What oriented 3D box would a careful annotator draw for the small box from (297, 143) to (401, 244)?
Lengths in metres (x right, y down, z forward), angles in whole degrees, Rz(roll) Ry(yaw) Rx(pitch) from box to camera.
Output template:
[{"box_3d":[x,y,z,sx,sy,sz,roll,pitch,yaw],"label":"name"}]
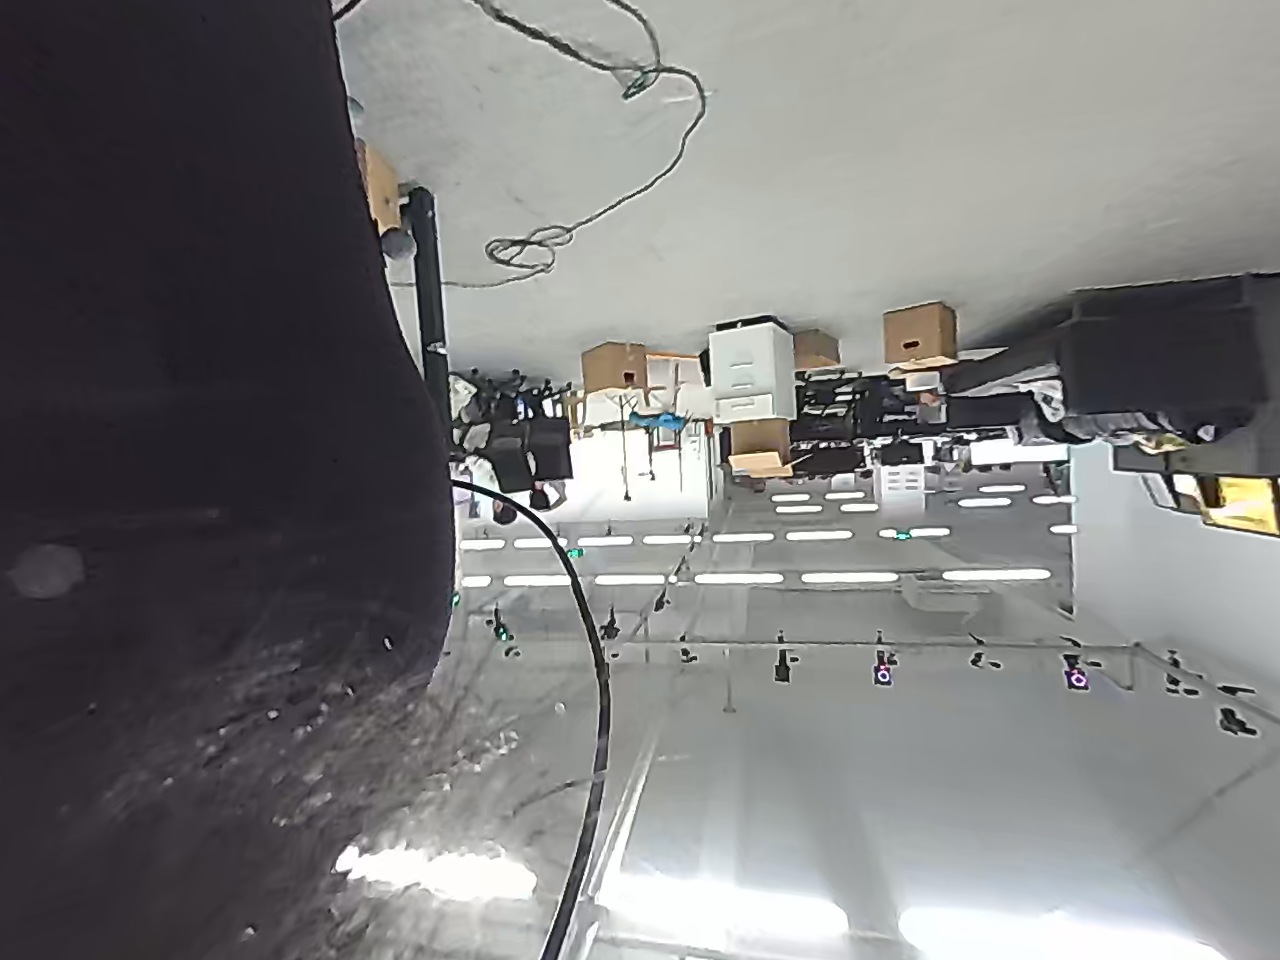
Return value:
[{"box_3d":[-0.716,-0.704,1.341,0.168,0.176,0.179,-4,-176,-1],"label":"small box"}]
